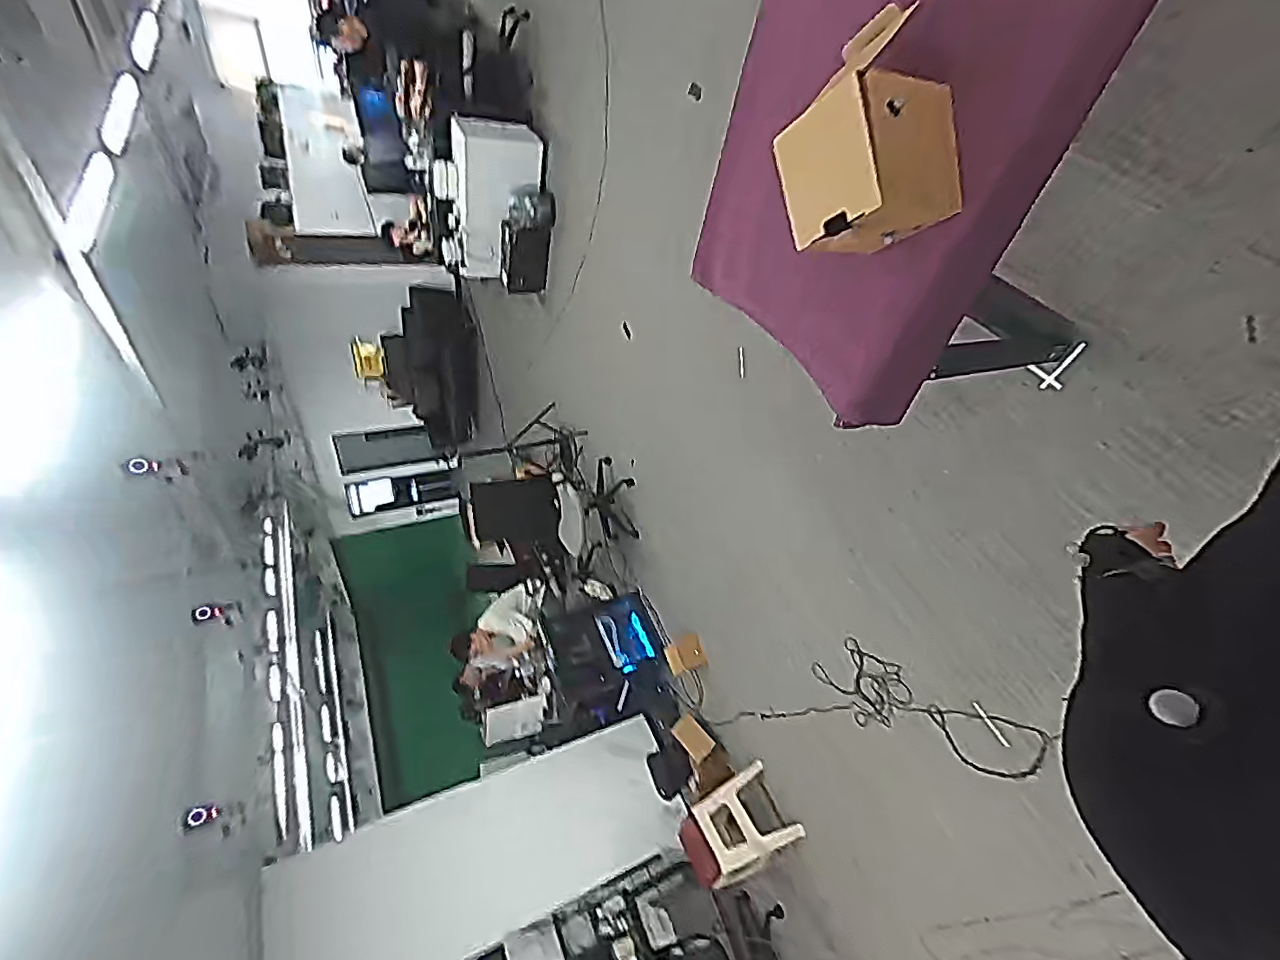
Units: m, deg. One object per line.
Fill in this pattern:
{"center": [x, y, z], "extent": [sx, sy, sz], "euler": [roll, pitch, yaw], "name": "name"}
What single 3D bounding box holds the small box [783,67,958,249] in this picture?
{"center": [0.341, -0.461, 0.806], "extent": [0.168, 0.176, 0.179], "euler": [1, 101, 65], "name": "small box"}
